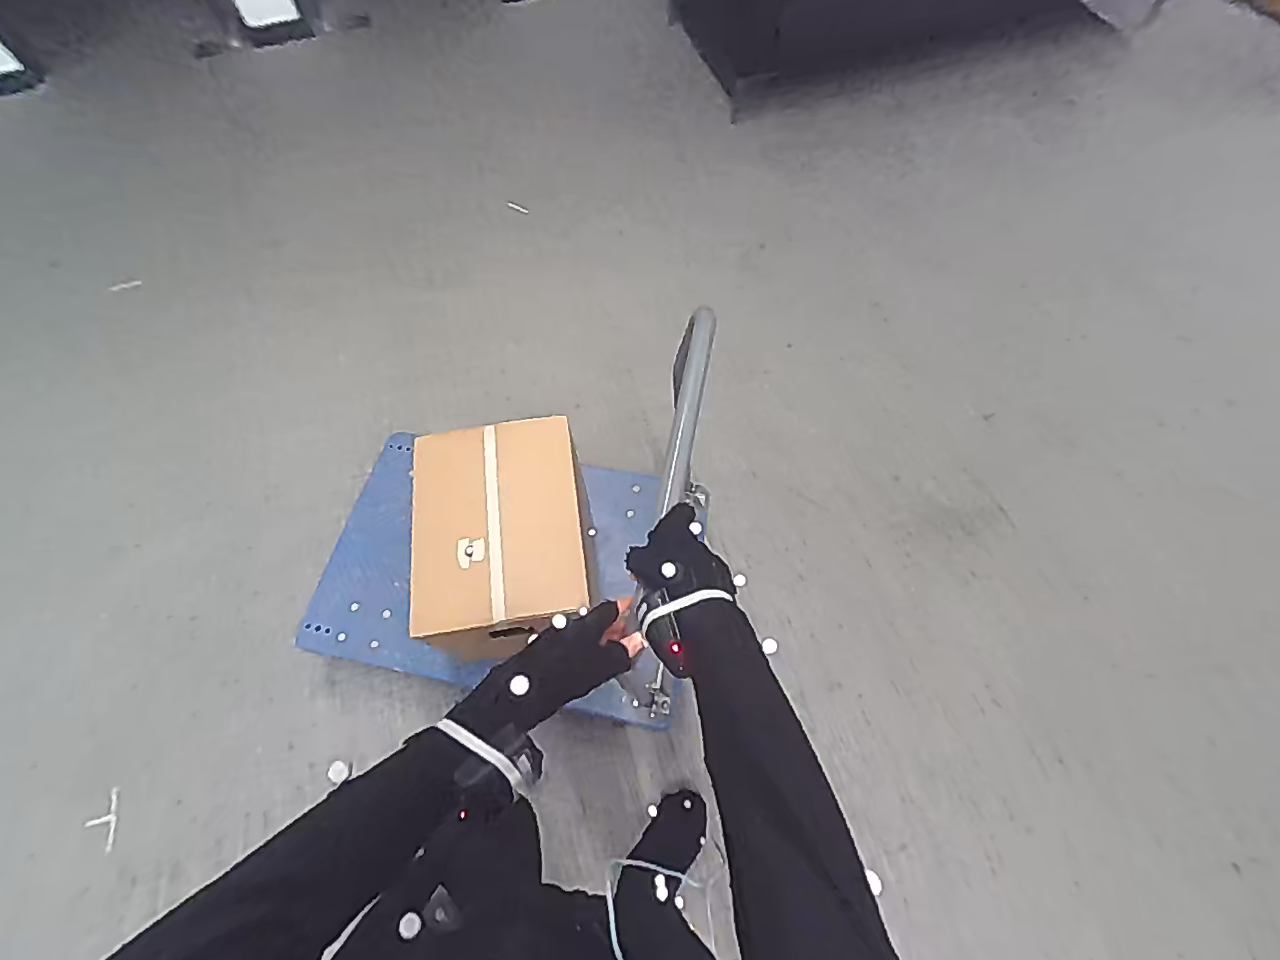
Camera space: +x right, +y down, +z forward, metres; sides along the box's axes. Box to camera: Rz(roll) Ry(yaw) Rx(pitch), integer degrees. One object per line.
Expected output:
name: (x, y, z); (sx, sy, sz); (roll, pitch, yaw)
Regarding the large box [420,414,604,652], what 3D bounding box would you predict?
large box: (-0.261, 0.123, 1.157); (0.320, 0.320, 0.408); (-8, 65, -3)
